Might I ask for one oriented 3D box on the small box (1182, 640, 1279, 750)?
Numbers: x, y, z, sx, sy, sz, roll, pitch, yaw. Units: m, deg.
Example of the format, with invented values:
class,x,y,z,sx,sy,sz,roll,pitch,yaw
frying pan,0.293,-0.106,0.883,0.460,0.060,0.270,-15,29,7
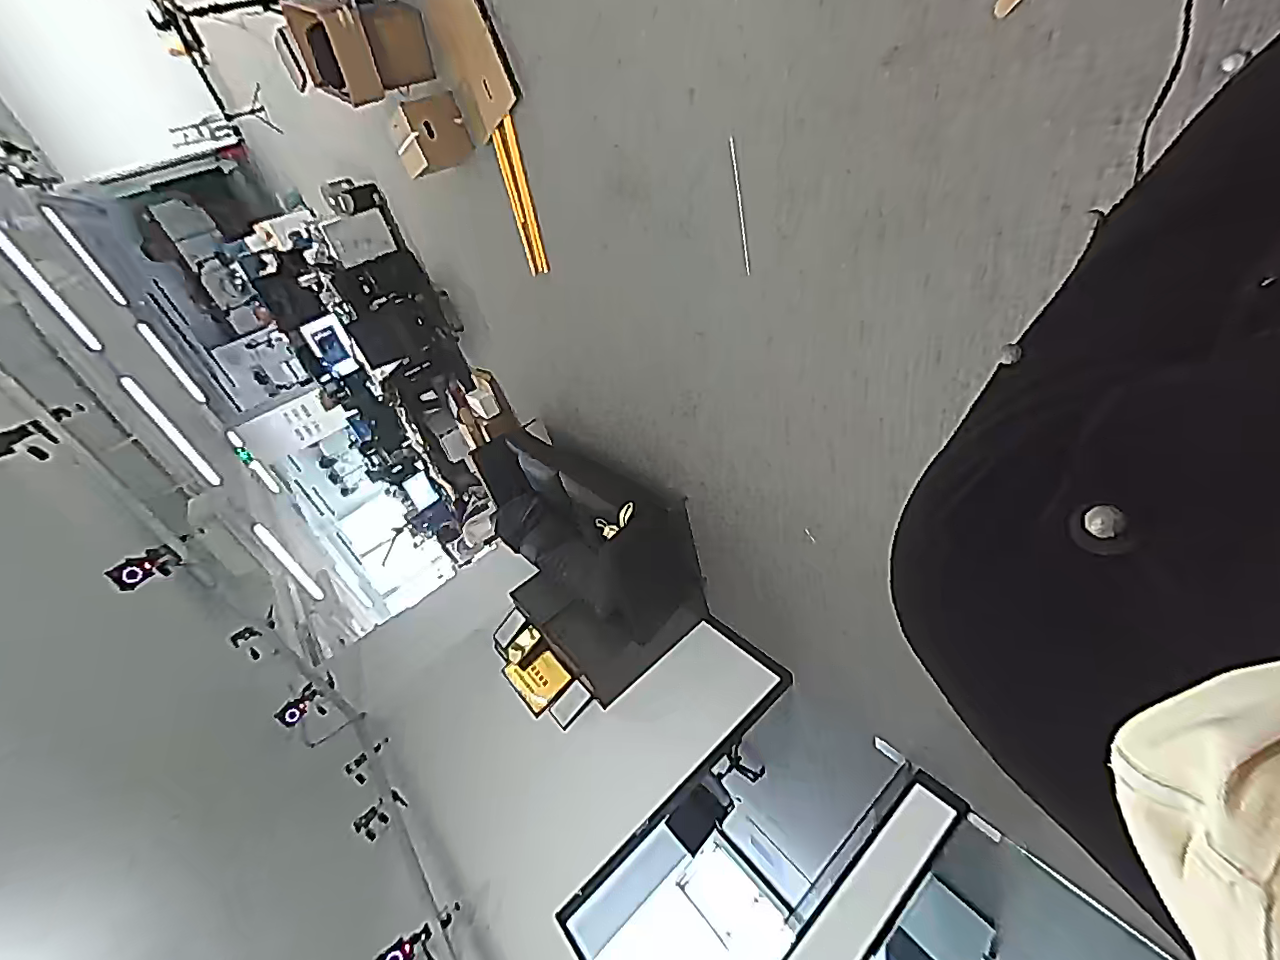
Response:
class,x,y,z,sx,sy,sz,roll,pitch,yaw
small box,1.620,0.572,1.448,0.168,0.176,0.179,31,147,43
